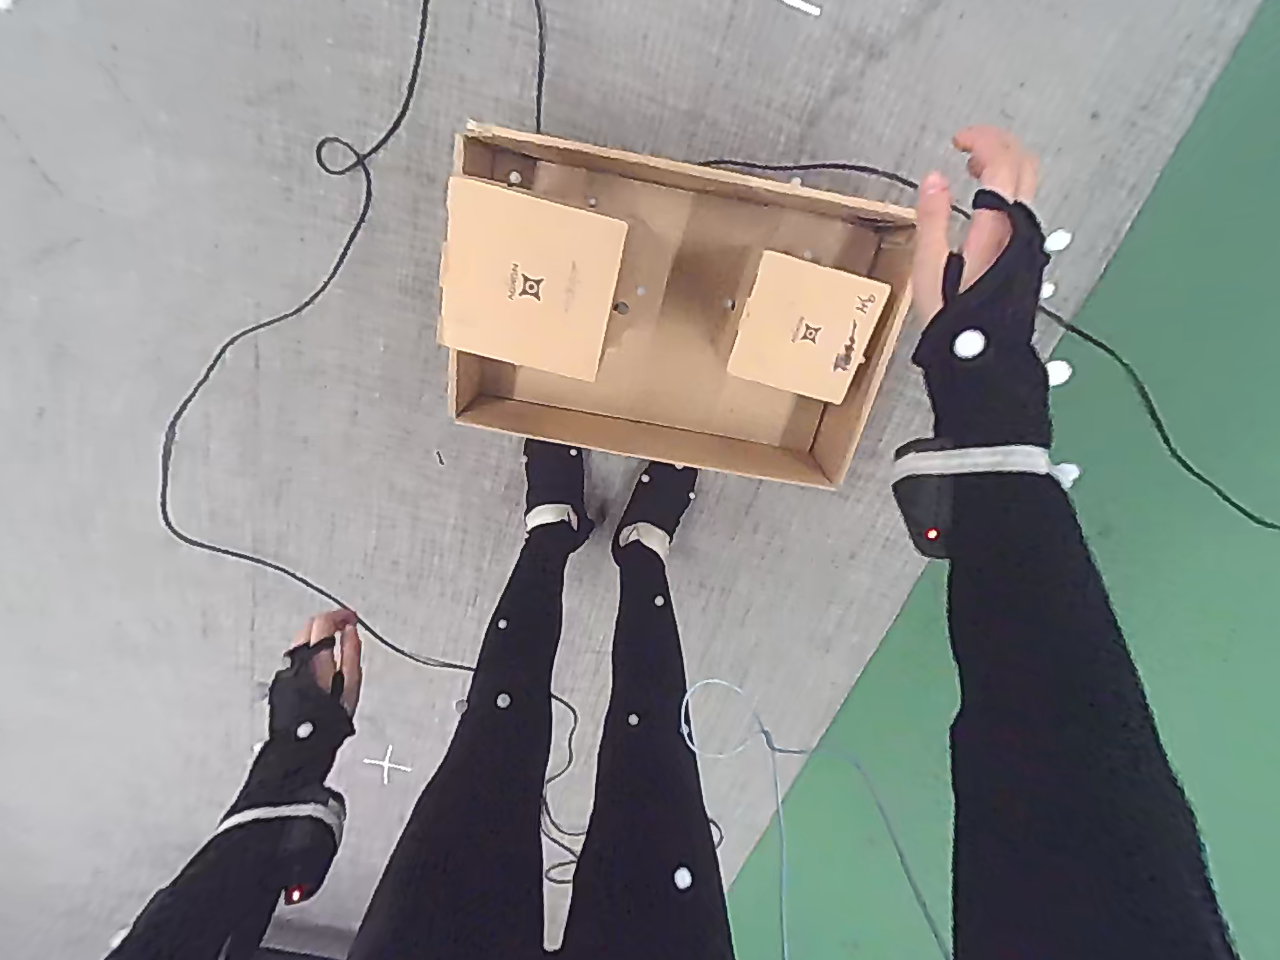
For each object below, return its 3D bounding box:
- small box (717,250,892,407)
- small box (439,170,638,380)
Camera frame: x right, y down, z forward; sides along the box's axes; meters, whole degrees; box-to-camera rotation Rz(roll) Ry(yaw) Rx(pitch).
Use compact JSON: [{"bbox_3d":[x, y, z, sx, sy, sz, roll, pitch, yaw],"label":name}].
[{"bbox_3d":[0.222,-0.226,0.791,0.179,0.176,0.168,16,114,-5],"label":"small box"},{"bbox_3d":[-0.107,-0.233,0.619,0.179,0.176,0.168,14,115,-6],"label":"small box"}]
